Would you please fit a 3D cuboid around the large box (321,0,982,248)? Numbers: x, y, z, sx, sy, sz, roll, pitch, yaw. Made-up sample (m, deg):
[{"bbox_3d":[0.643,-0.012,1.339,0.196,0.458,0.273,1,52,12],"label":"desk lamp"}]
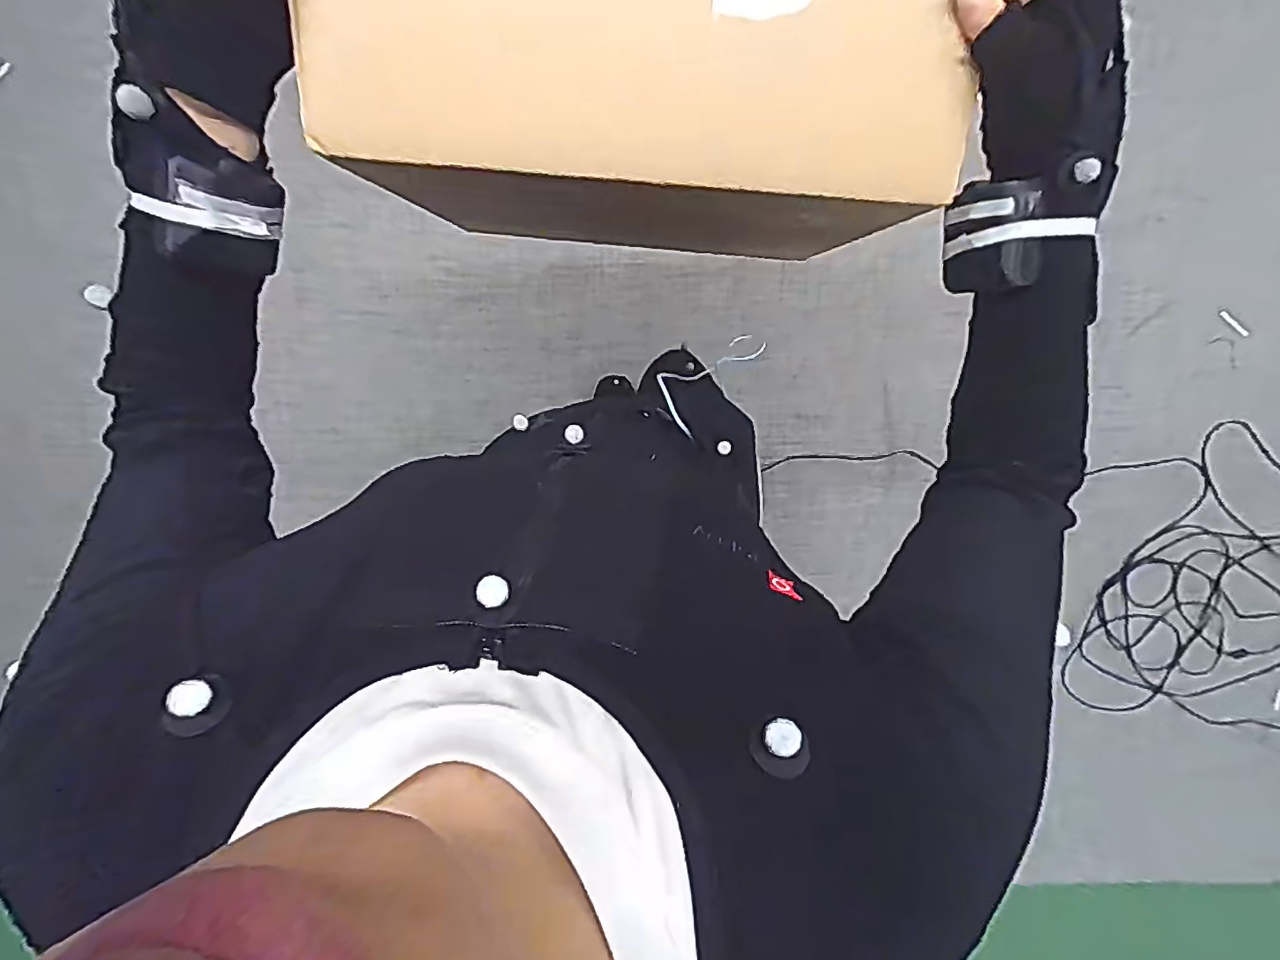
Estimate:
[{"bbox_3d":[0.010,-0.388,0.450,0.408,0.320,0.320,4,107,-1],"label":"large box"}]
